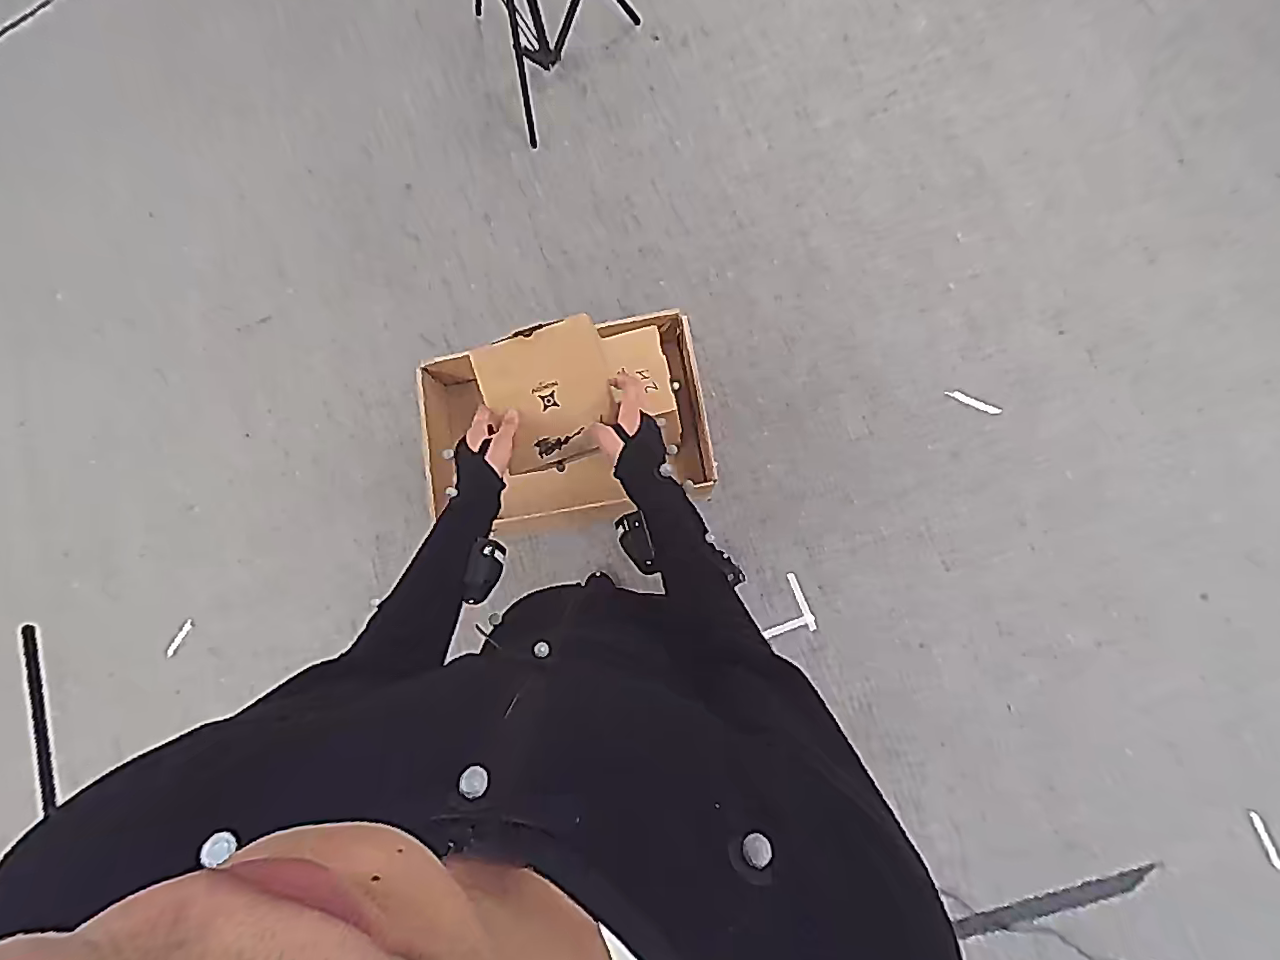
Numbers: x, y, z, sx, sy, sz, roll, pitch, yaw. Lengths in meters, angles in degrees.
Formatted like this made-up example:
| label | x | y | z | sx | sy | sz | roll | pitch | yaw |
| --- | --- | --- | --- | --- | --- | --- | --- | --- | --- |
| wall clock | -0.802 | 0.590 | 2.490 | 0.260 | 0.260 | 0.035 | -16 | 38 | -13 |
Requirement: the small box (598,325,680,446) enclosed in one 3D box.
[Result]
| label | x | y | z | sx | sy | sz | roll | pitch | yaw |
| --- | --- | --- | --- | --- | --- | --- | --- | --- | --- |
| small box | -0.028 | -0.166 | 1.029 | 0.179 | 0.176 | 0.168 | -13 | 80 | 4 |

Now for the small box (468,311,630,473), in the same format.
| label | x | y | z | sx | sy | sz | roll | pitch | yaw |
| --- | --- | --- | --- | --- | --- | --- | --- | --- | --- |
| small box | -0.119 | -0.115 | 0.777 | 0.168 | 0.176 | 0.179 | -18 | 91 | 4 |
